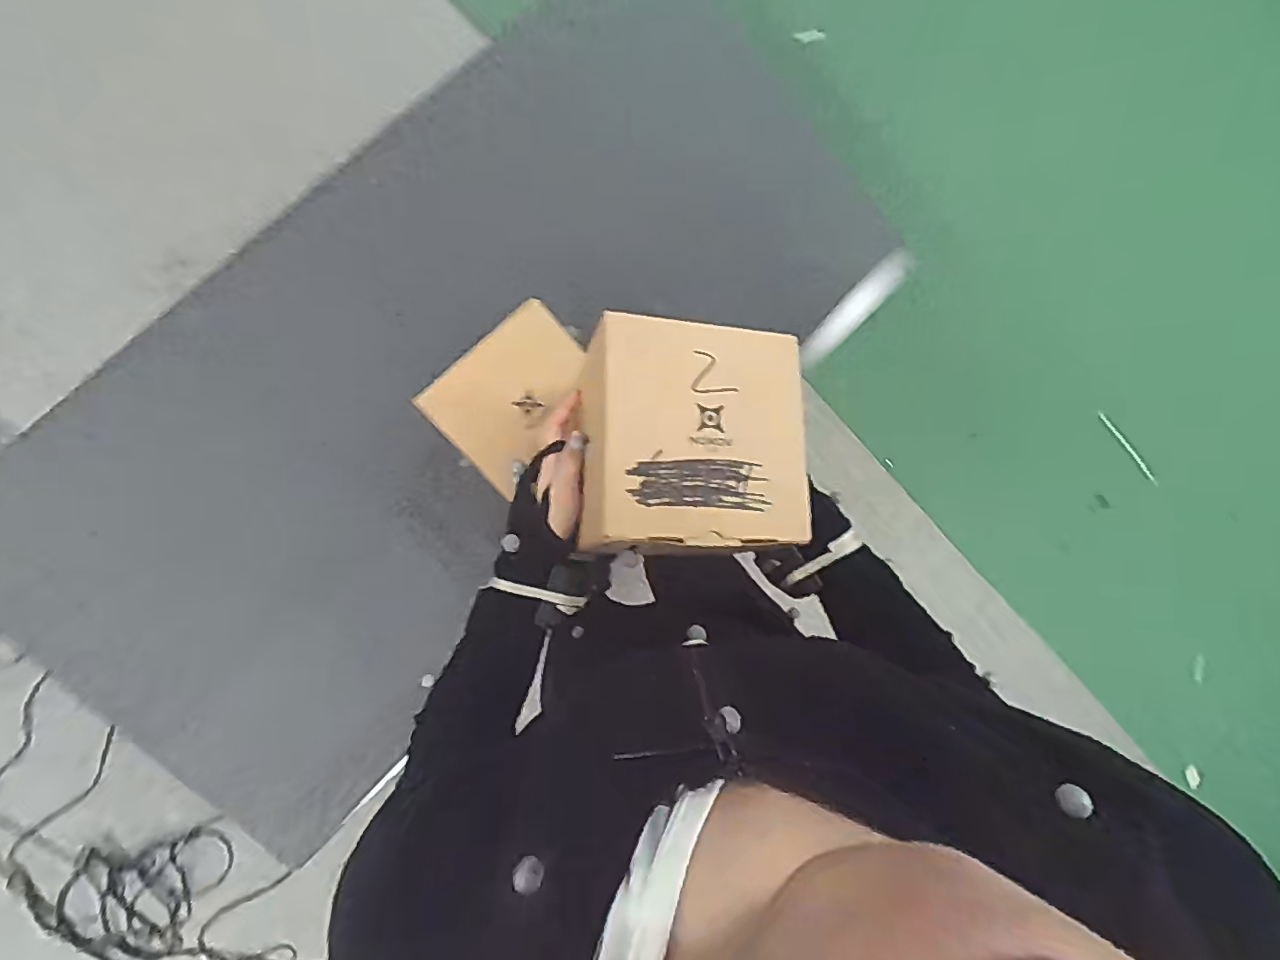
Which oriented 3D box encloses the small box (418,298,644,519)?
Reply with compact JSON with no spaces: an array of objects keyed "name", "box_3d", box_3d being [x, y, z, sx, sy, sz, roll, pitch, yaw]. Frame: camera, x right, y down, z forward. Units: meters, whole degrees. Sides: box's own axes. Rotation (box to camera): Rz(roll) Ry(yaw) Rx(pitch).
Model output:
[{"name":"small box","box_3d":[-0.123,-0.074,0.640,0.168,0.176,0.179,-43,97,-5]}]
